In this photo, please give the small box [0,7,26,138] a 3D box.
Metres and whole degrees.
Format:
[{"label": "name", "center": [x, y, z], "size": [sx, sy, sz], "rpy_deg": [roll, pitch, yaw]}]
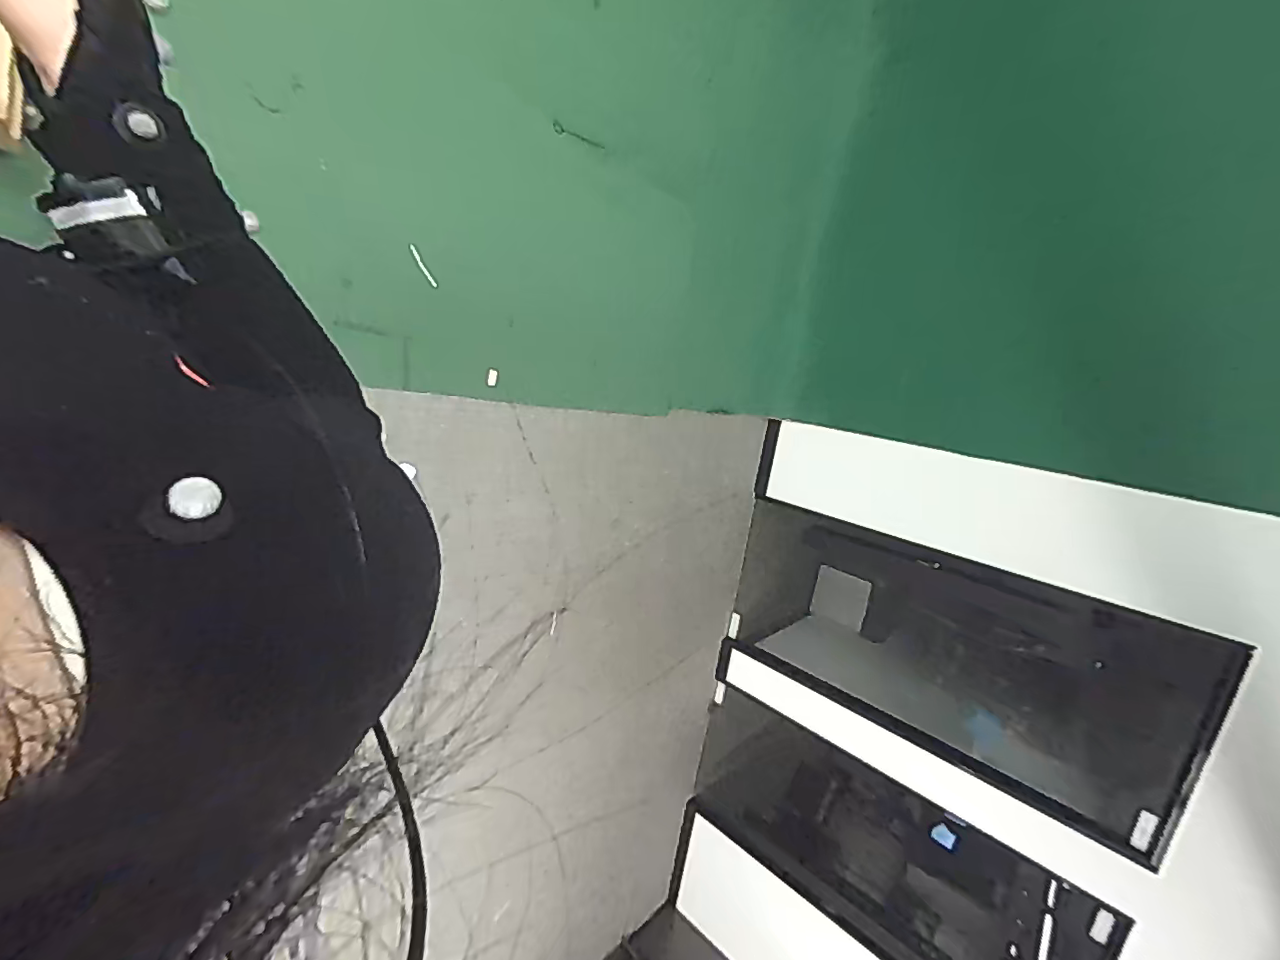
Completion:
[{"label": "small box", "center": [-1.041, -0.631, 0.793], "size": [0.179, 0.176, 0.168], "rpy_deg": [3, 103, -49]}]
